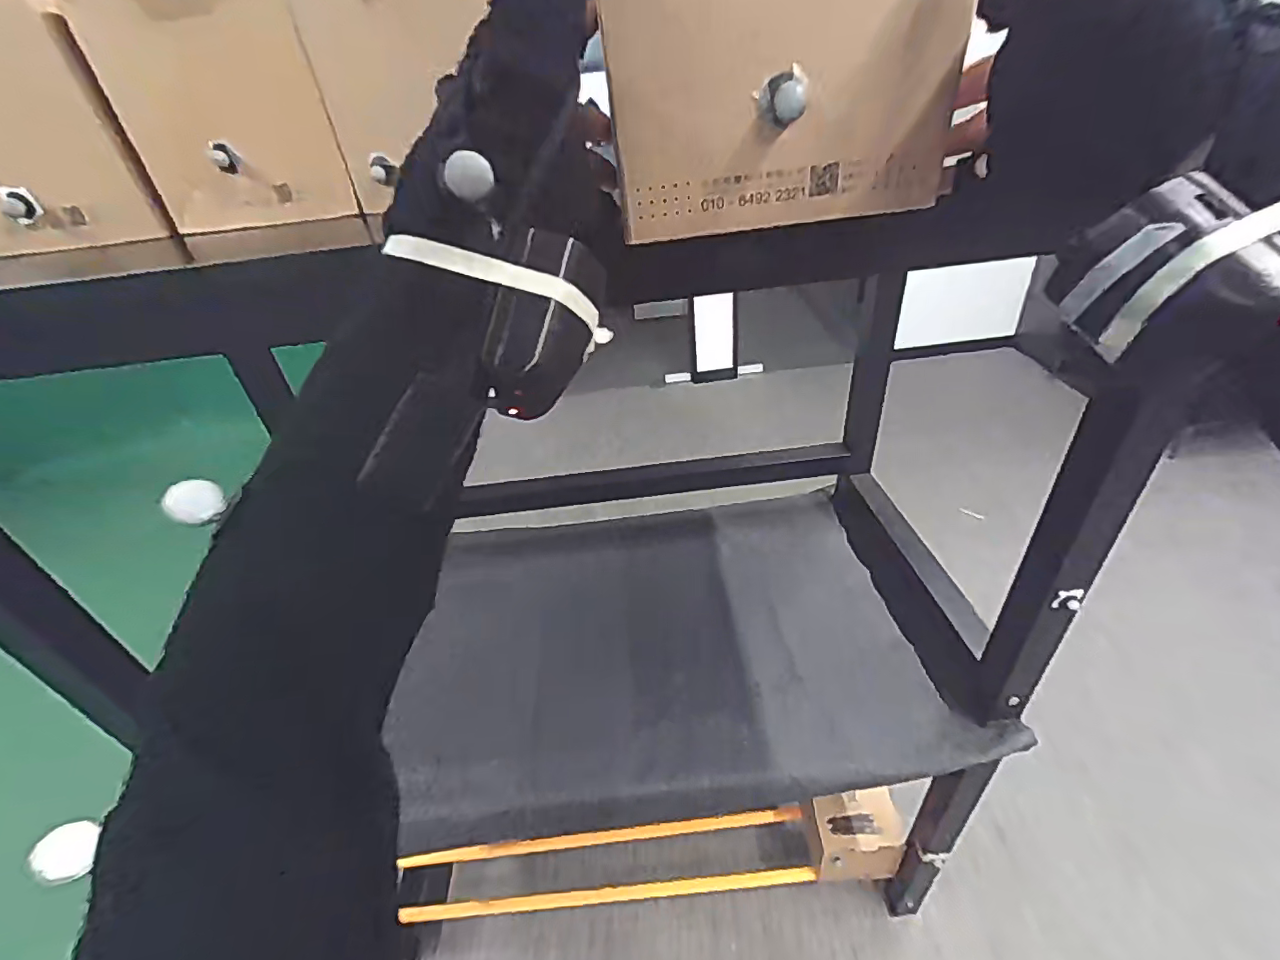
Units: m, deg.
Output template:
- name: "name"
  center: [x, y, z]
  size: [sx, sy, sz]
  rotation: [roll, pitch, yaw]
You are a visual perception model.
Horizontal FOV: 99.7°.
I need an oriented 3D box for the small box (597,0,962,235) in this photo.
- name: "small box"
  center: [0.062, -0.252, 0.313]
  size: [0.168, 0.176, 0.179]
  rotation: [-7, 37, 2]
